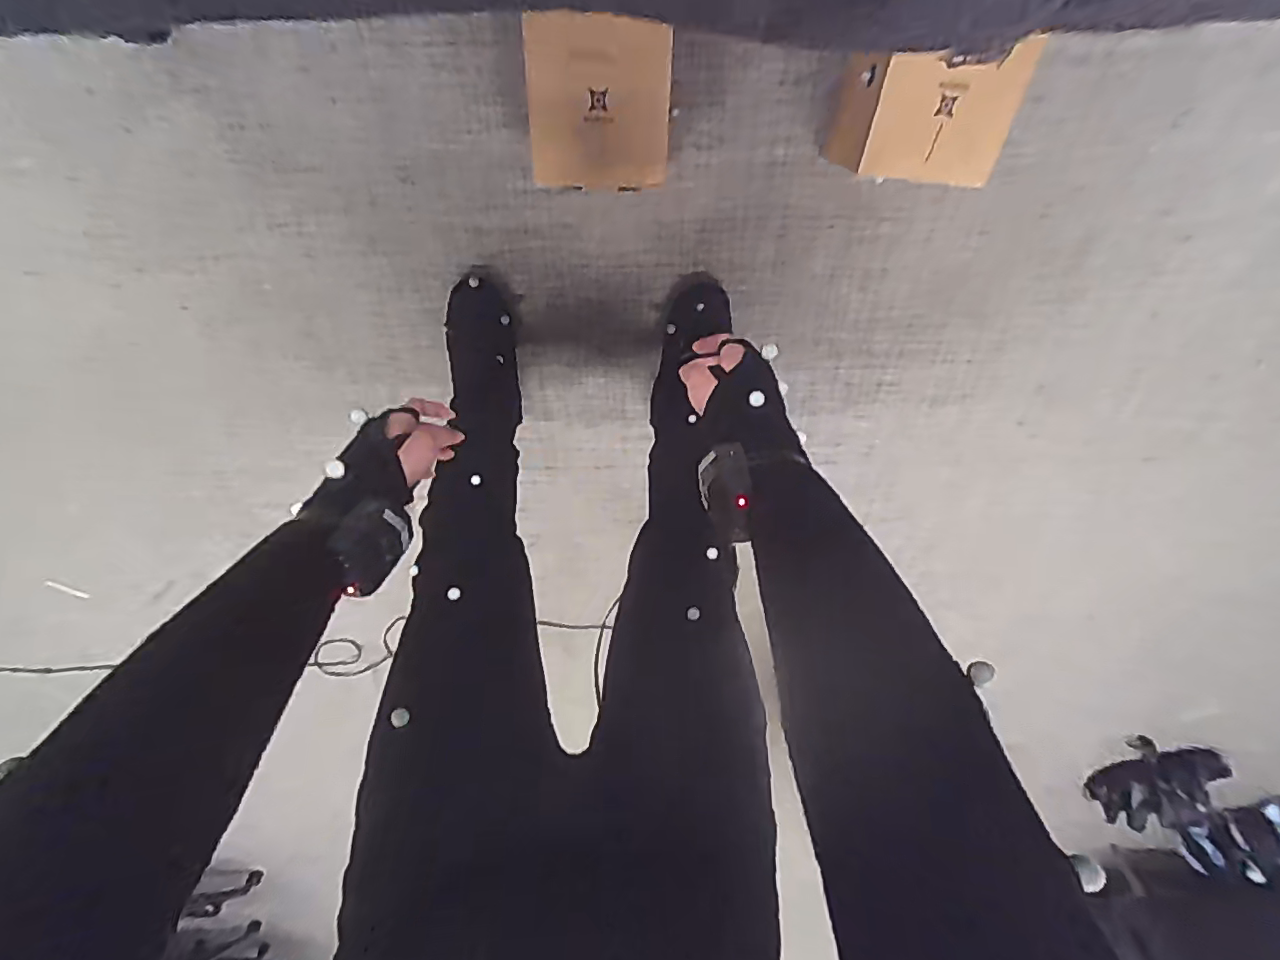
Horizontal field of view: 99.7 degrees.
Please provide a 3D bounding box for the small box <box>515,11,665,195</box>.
[{"bbox_3d":[-0.056,-0.476,0.694,0.168,0.176,0.179,0,124,-1],"label":"small box"}]

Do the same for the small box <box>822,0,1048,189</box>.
[{"bbox_3d":[0.347,-0.483,0.682,0.168,0.176,0.179,3,127,-2],"label":"small box"}]
